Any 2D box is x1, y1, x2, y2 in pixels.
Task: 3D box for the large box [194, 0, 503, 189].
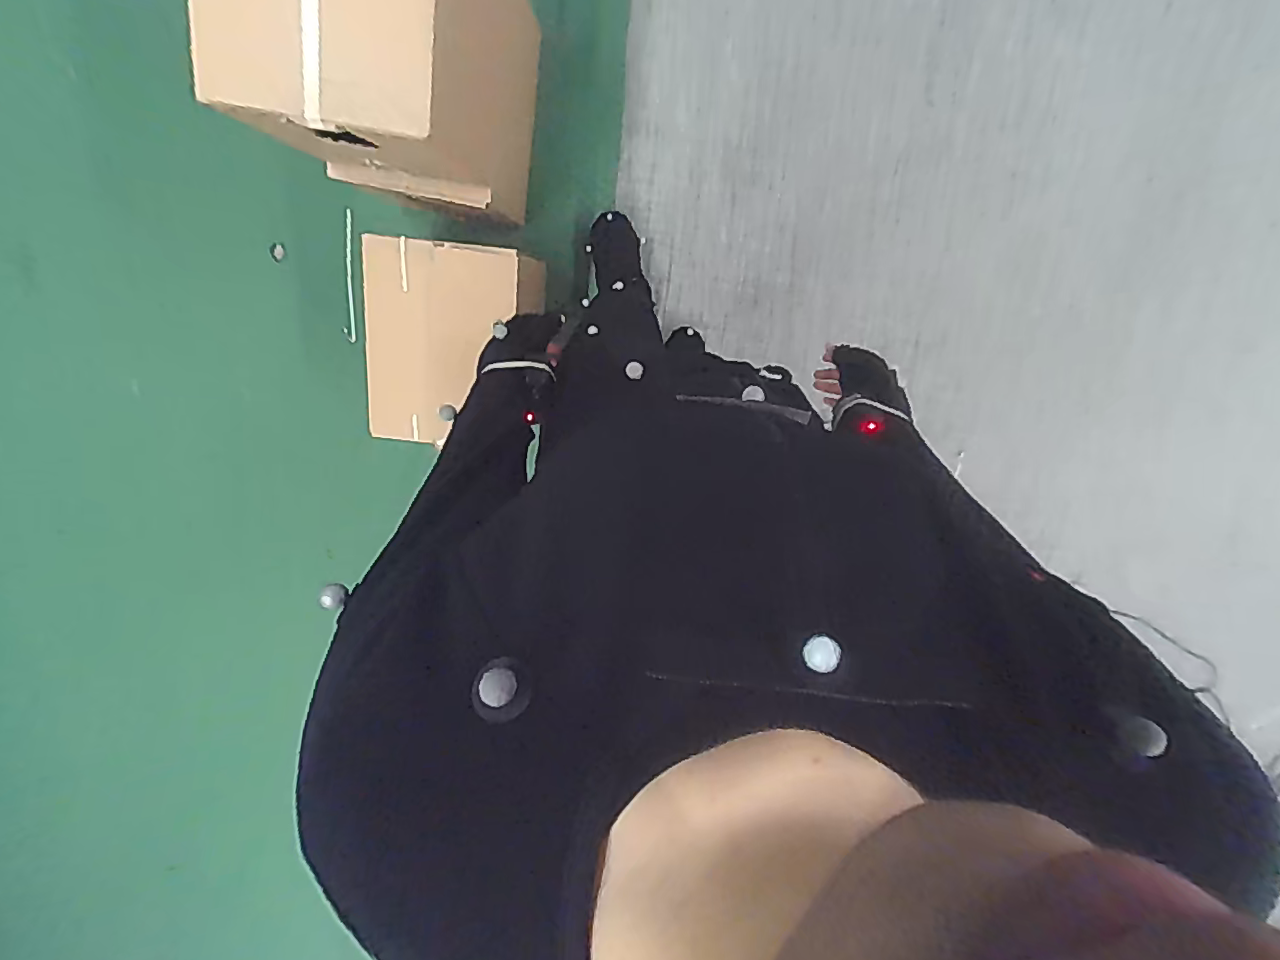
[{"bbox_3d":[-0.401,-0.708,0.810,0.320,0.320,0.408,8,106,-3],"label":"large box"}]
